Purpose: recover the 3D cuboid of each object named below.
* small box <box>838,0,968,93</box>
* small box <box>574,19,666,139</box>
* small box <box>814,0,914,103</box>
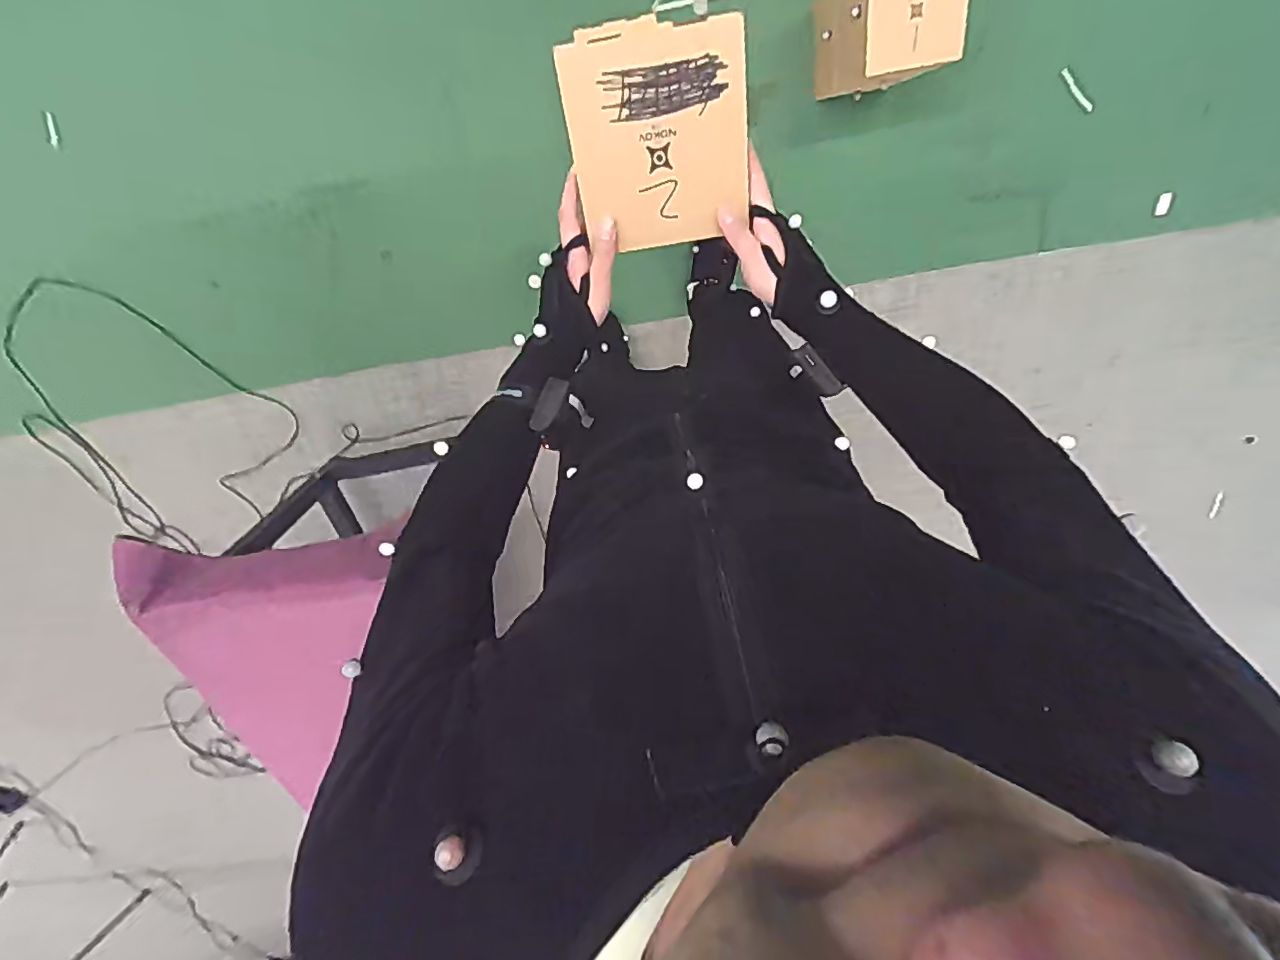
[{"bbox_3d":[0.464,-0.826,0.972,0.168,0.176,0.179,-7,119,5],"label":"small box"},{"bbox_3d":[-0.034,-0.845,1.159,0.168,0.176,0.179,-8,118,5],"label":"small box"},{"bbox_3d":[0.463,-0.906,1.116,0.168,0.176,0.179,-7,119,4],"label":"small box"}]
